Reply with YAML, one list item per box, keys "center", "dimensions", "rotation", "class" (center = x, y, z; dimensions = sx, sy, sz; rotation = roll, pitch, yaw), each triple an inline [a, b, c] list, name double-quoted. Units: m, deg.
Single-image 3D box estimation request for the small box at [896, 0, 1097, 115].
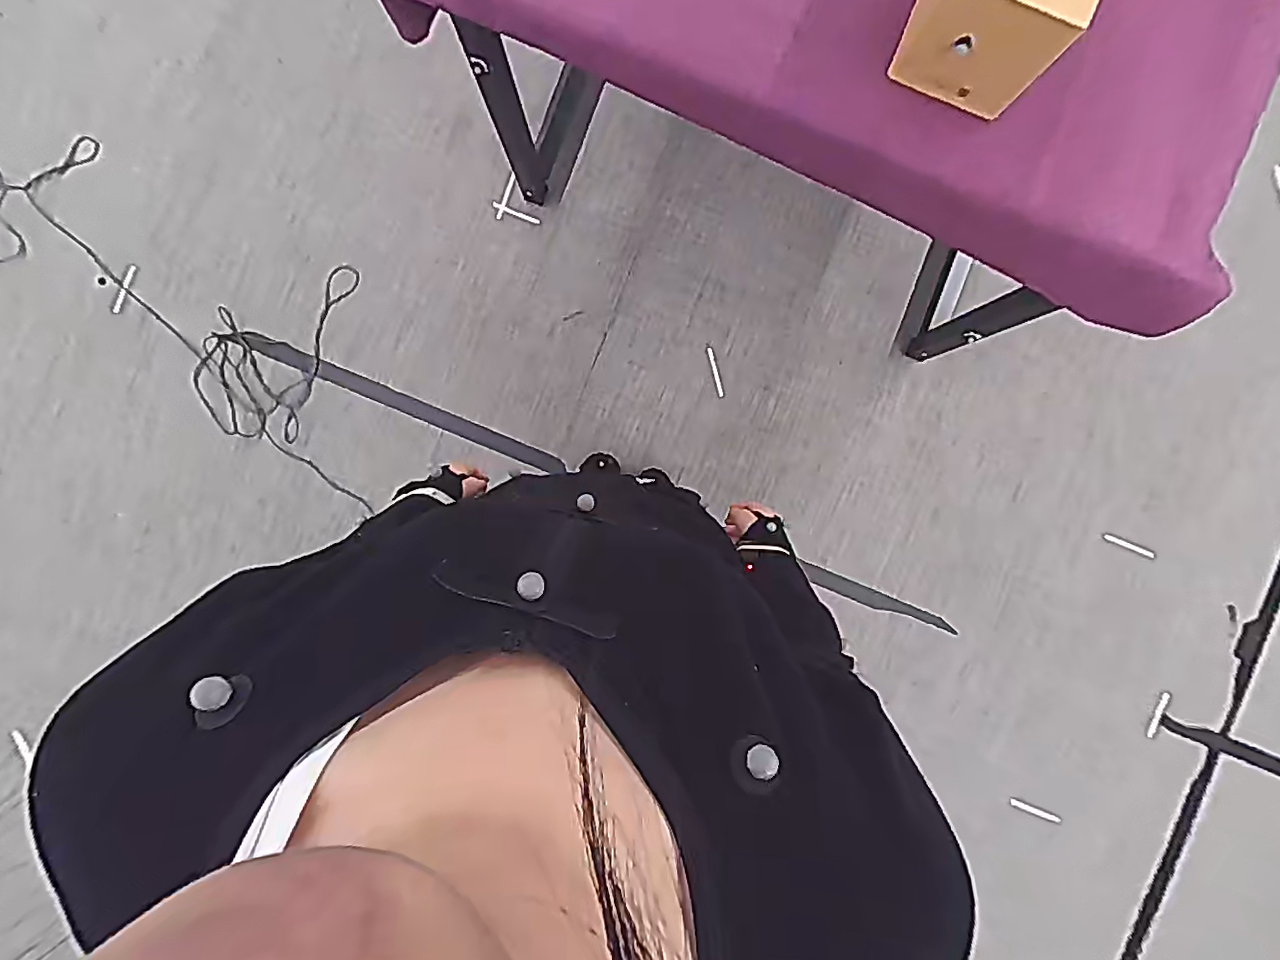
- center: [0.459, -0.619, 0.689]
  dimensions: [0.168, 0.176, 0.179]
  rotation: [22, 90, -1]
  class: "small box"
